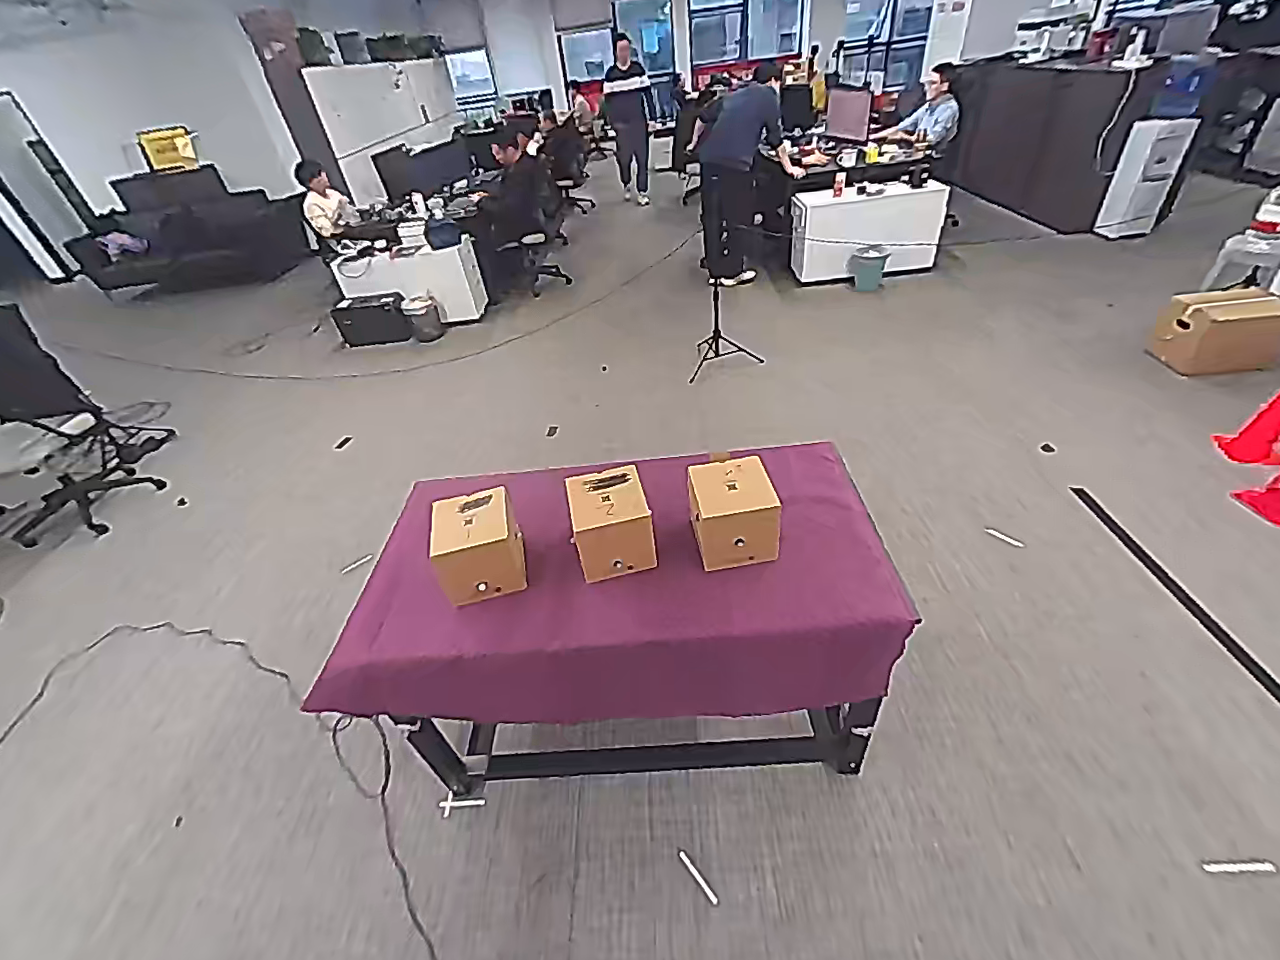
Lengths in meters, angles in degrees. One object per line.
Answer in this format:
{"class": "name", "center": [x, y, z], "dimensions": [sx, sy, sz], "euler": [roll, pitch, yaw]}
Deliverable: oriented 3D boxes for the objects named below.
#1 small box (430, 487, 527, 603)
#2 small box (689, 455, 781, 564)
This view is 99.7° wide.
{"class": "small box", "center": [-0.360, 0.147, 1.223], "dimensions": [0.168, 0.176, 0.179], "euler": [-14, 40, -6]}
{"class": "small box", "center": [0.209, 0.072, 1.208], "dimensions": [0.168, 0.176, 0.179], "euler": [-9, 38, -1]}
